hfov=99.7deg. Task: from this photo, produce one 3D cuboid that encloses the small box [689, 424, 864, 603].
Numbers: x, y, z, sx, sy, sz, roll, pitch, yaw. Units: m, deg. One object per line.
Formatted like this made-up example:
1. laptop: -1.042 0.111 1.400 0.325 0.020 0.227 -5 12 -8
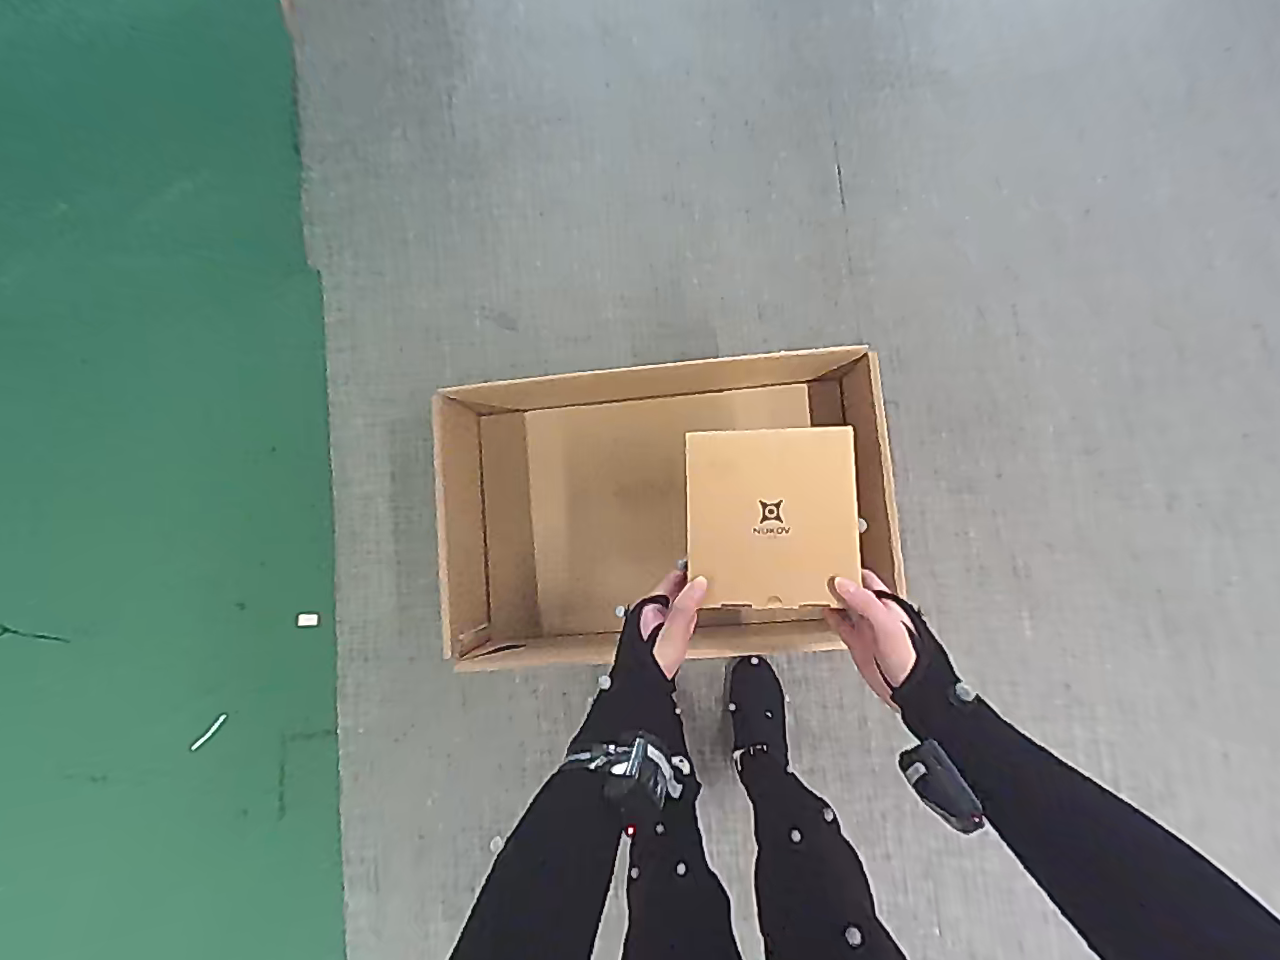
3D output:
1. small box: 0.139 0.042 0.609 0.168 0.176 0.179 -1 83 6
